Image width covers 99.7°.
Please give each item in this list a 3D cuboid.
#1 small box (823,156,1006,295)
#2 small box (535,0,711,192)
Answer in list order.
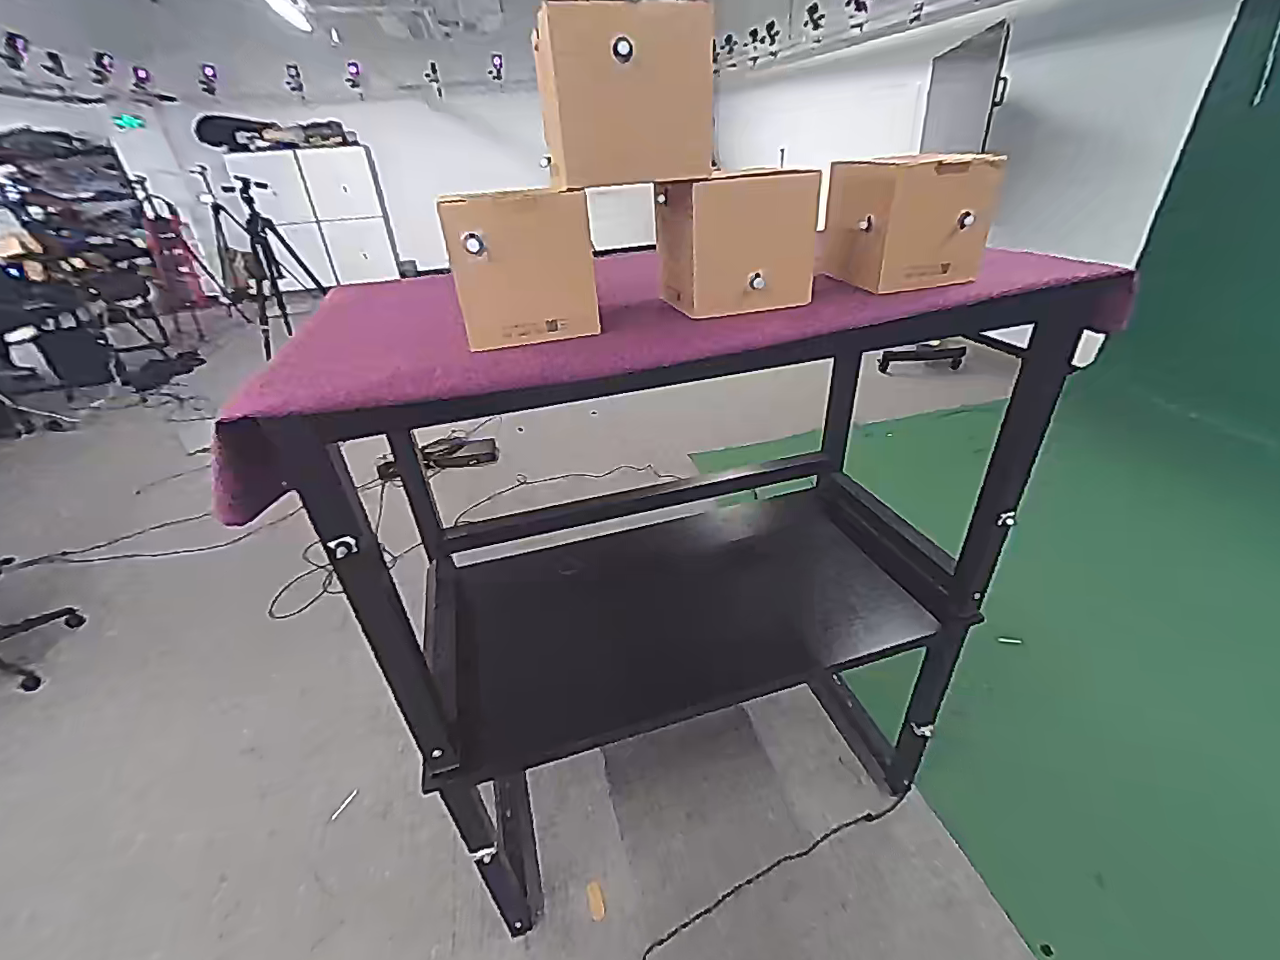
[{"bbox_3d":[0.398,-0.384,0.818,0.168,0.176,0.179,-9,31,-8],"label":"small box"},{"bbox_3d":[-0.021,-0.445,0.649,0.179,0.176,0.168,-10,31,-11],"label":"small box"}]
